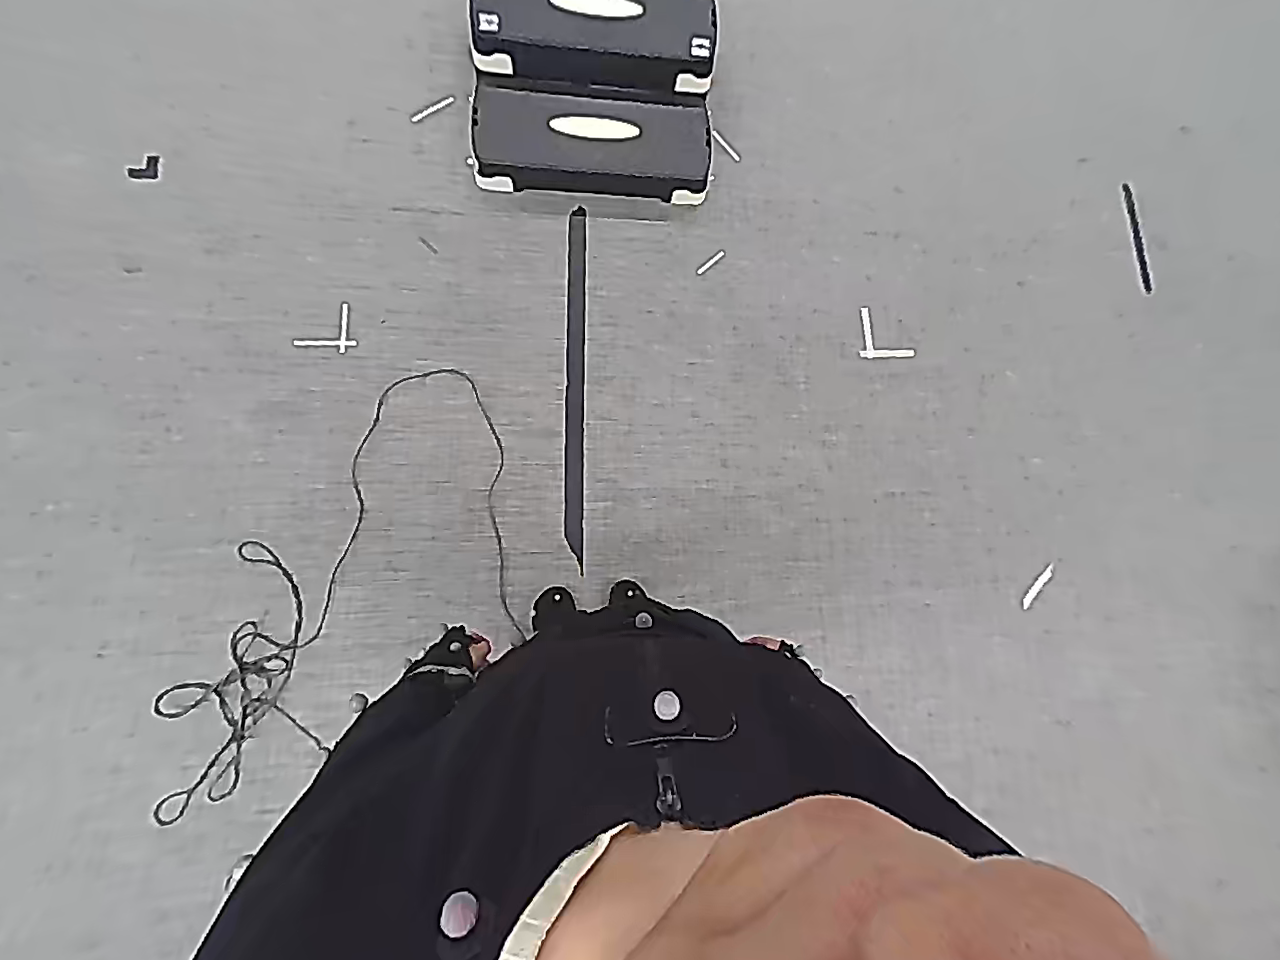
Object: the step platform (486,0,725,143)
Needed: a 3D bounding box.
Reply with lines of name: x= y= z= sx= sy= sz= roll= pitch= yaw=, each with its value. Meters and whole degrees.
step platform: x=-0.096 y=-1.217 z=1.577 sx=0.684 sy=0.204 sz=0.286 roll=5 pitch=79 yaw=-7
